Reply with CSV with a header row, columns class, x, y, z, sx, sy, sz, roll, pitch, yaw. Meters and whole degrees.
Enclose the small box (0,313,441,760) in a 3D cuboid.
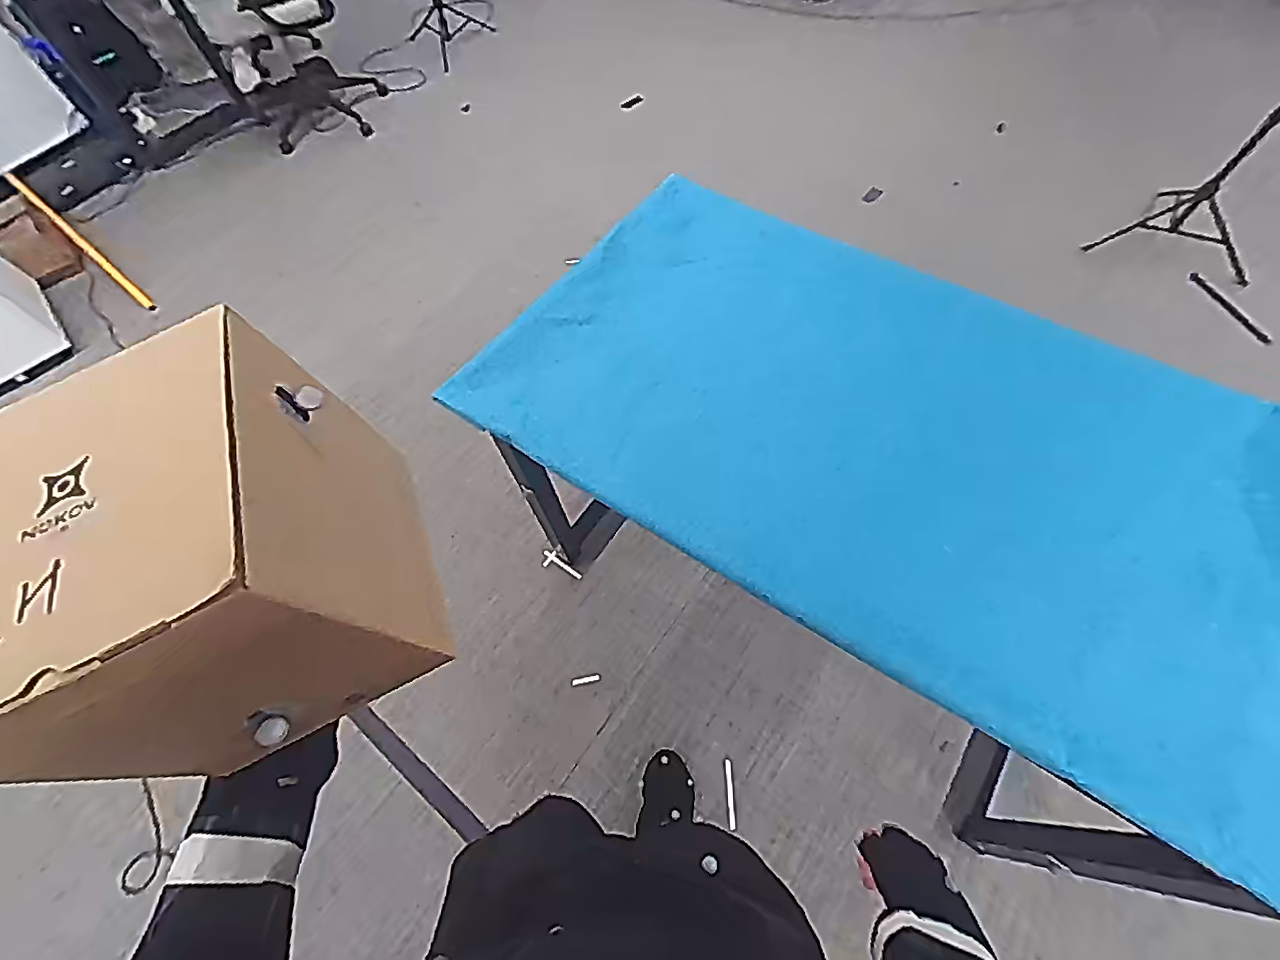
class,x,y,z,sx,sy,sz,roll,pitch,yaw
small box,-0.243,0.047,0.315,0.168,0.176,0.179,-24,64,2
